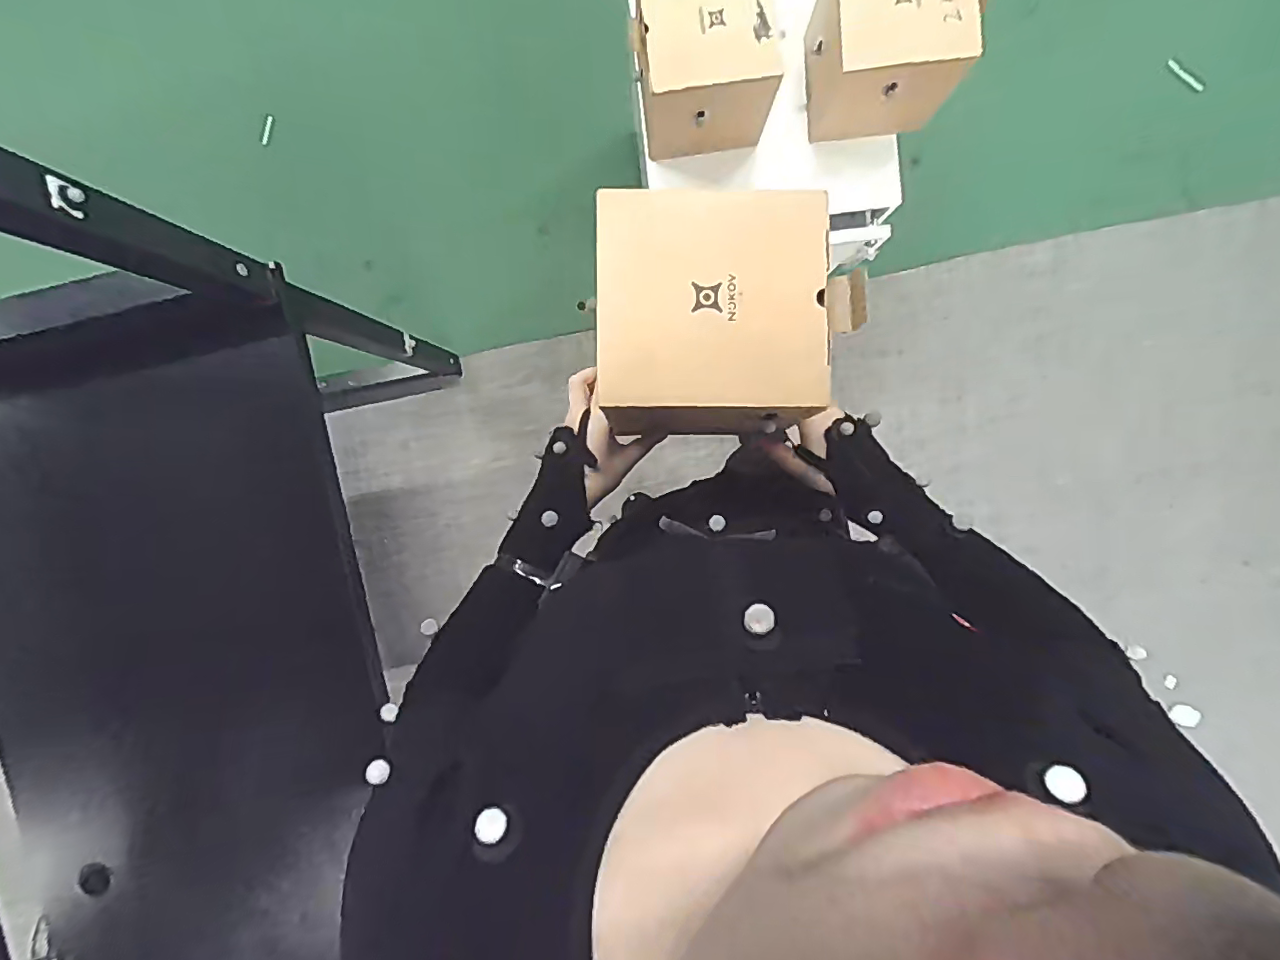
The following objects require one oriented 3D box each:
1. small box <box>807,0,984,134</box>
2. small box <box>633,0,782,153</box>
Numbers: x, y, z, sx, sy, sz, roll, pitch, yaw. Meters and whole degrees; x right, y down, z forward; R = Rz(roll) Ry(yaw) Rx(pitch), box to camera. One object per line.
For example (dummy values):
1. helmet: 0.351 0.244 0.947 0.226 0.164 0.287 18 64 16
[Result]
1. small box: 0.336 -0.609 0.745 0.179 0.176 0.168 -5 95 2
2. small box: 0.087 -0.589 0.757 0.179 0.176 0.168 -8 94 2
